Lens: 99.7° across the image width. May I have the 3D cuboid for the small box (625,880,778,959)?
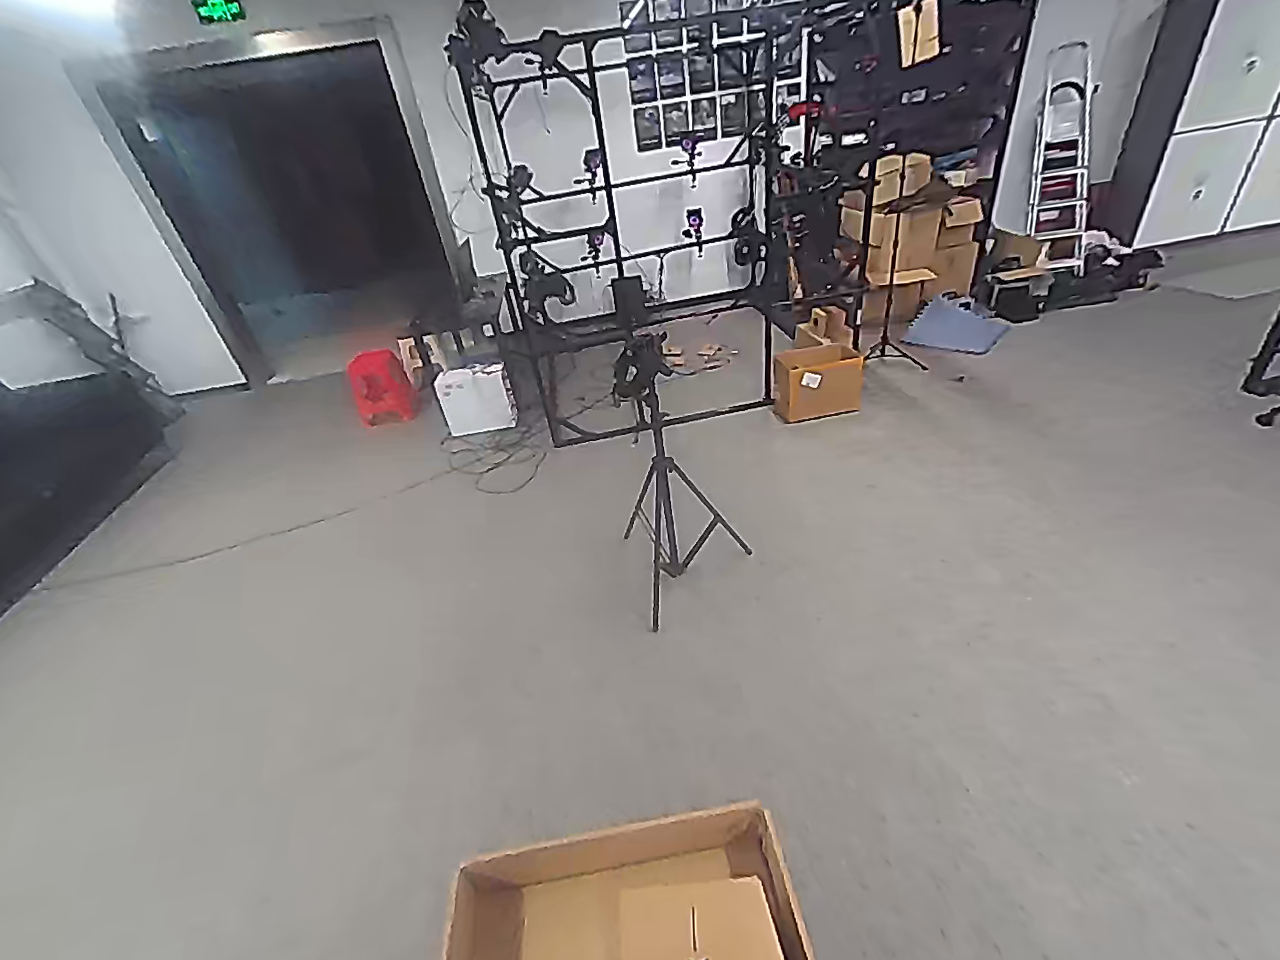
[{"bbox_3d":[0.076,0.589,0.619,0.168,0.176,0.179,-7,42,1],"label":"small box"}]
